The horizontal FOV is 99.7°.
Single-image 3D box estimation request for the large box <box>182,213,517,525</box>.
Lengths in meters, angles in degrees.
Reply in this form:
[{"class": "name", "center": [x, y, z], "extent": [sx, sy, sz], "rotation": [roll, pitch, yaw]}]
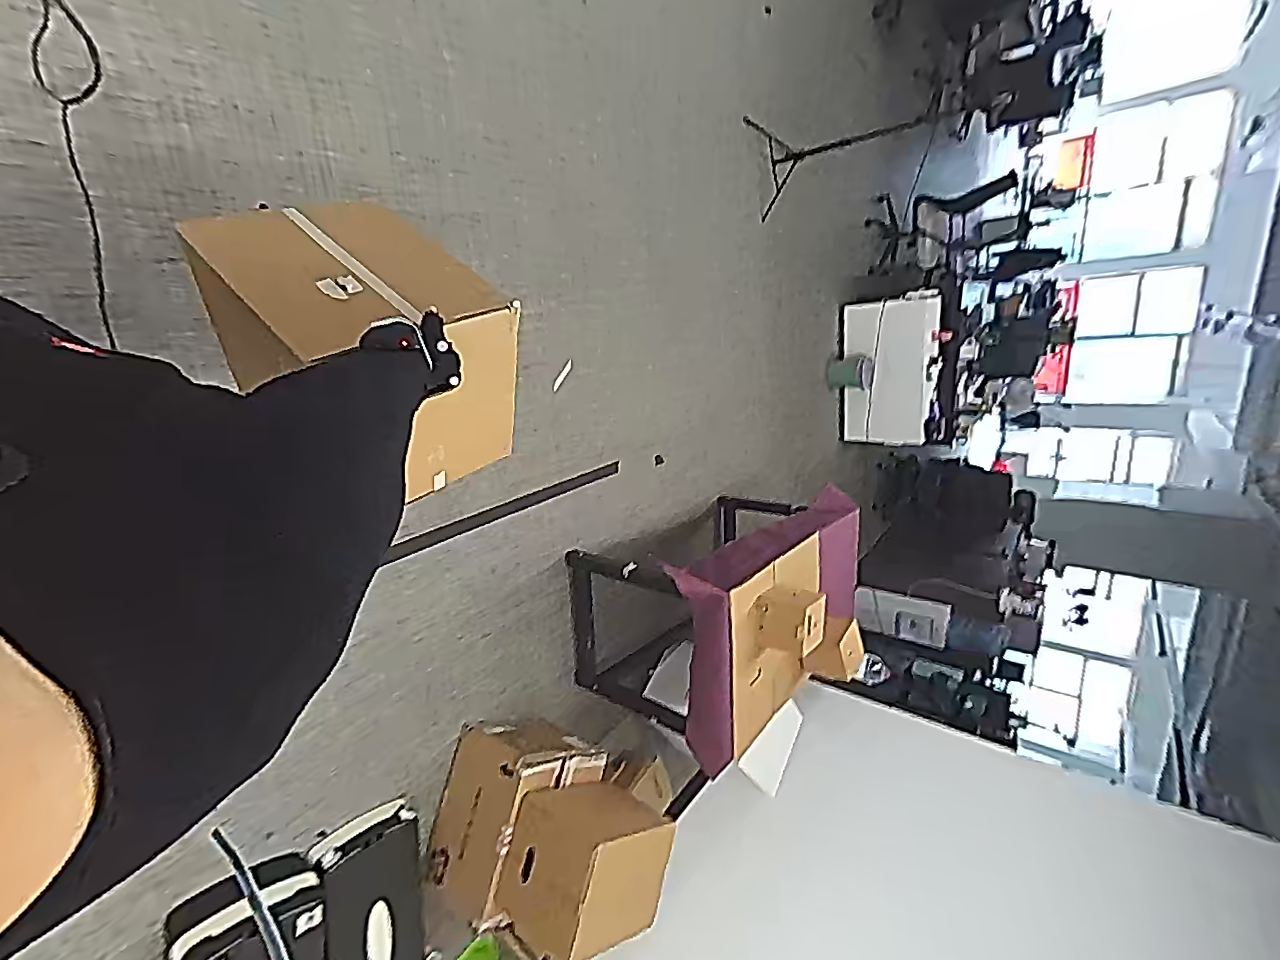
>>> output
[{"class": "large box", "center": [-0.468, -0.204, 0.921], "extent": [0.320, 0.408, 0.320], "rotation": [-33, 153, -38]}]
